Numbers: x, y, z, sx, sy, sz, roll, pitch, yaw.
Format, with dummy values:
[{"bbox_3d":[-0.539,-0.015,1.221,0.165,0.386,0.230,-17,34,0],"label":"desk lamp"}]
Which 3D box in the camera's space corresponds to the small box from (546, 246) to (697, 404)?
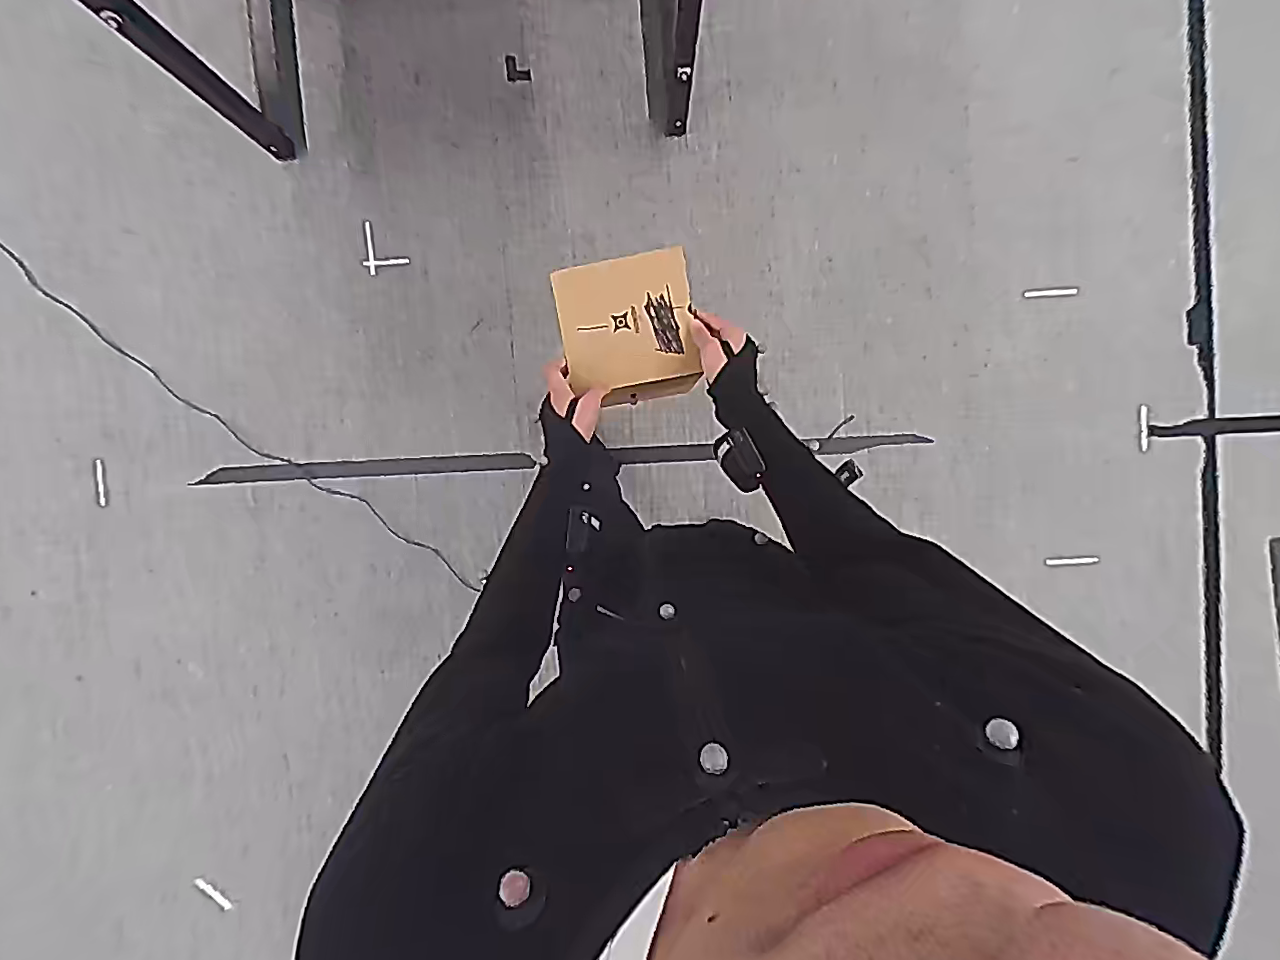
[{"bbox_3d":[-0.026,-0.210,0.776,0.179,0.176,0.168,-10,91,0],"label":"small box"}]
